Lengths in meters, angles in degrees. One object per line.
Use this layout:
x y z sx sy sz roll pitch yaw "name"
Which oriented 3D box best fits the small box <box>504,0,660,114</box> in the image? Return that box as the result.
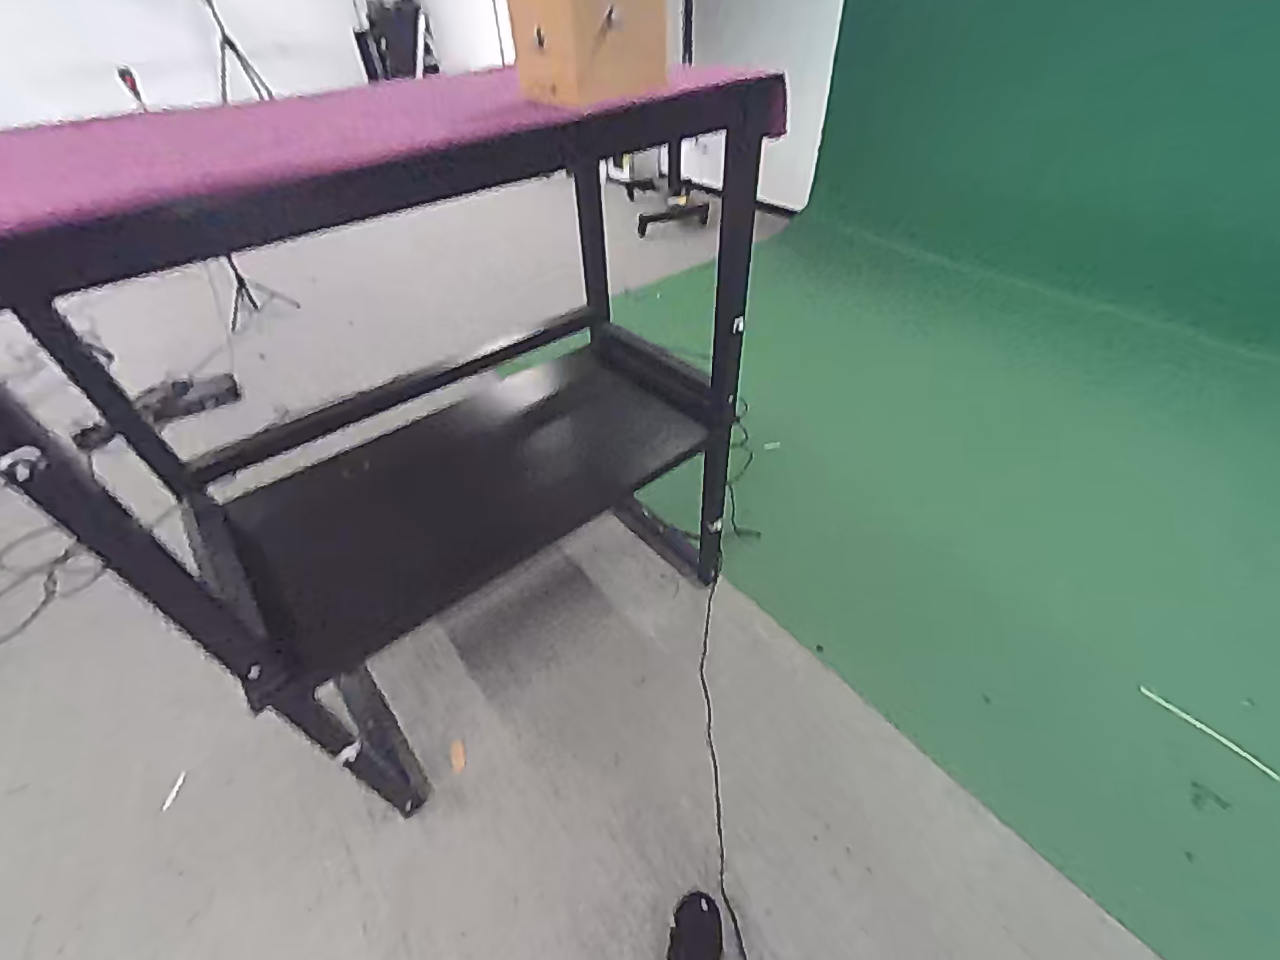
-0.081 -0.670 0.814 0.179 0.176 0.168 -32 51 -26 "small box"
